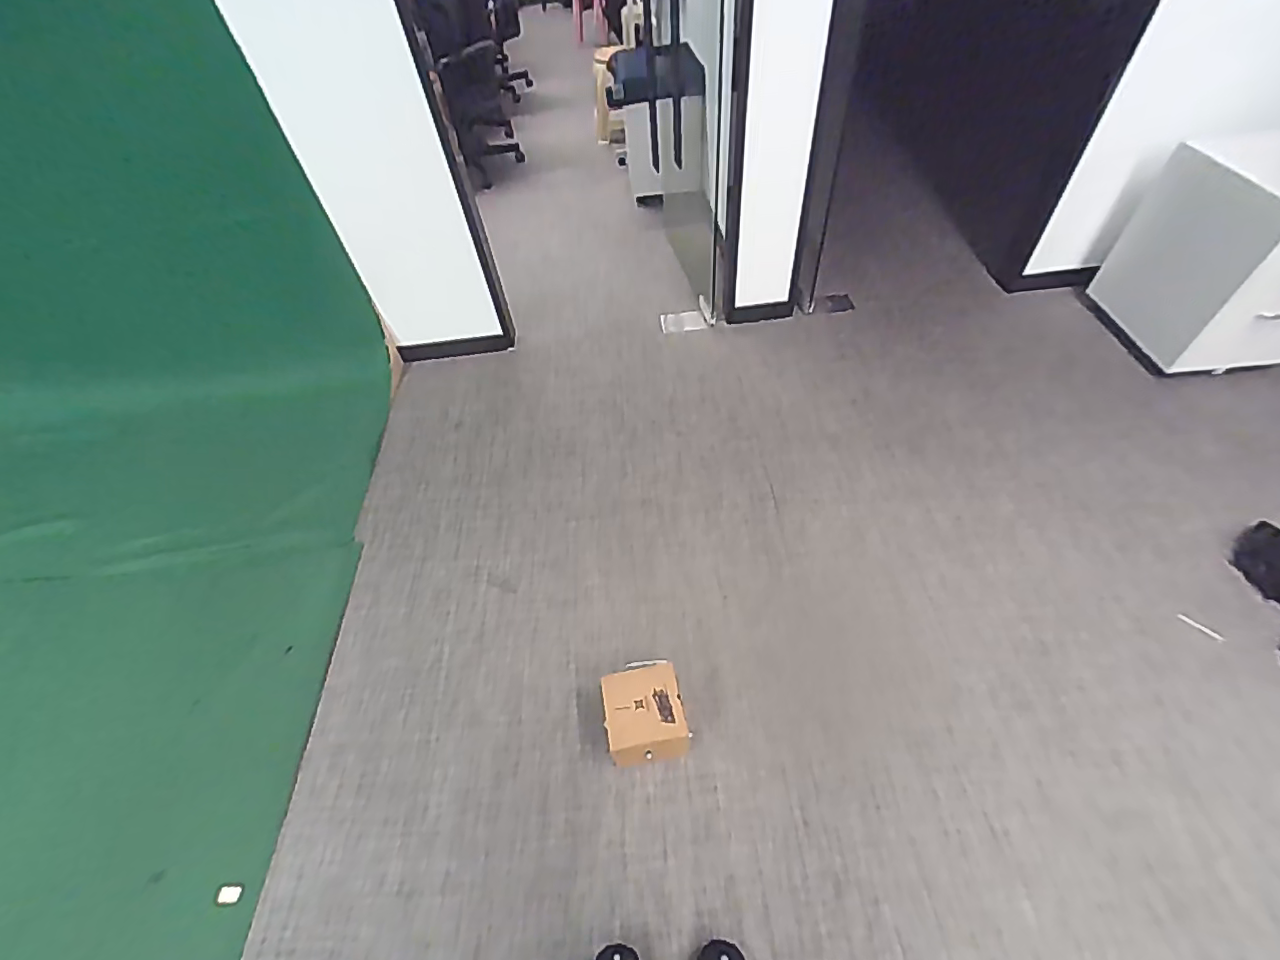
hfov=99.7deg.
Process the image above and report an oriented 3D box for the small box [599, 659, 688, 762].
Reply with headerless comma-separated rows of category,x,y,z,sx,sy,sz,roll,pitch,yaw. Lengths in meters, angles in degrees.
small box,0.008,0.550,1.285,0.179,0.176,0.168,-12,51,-6
